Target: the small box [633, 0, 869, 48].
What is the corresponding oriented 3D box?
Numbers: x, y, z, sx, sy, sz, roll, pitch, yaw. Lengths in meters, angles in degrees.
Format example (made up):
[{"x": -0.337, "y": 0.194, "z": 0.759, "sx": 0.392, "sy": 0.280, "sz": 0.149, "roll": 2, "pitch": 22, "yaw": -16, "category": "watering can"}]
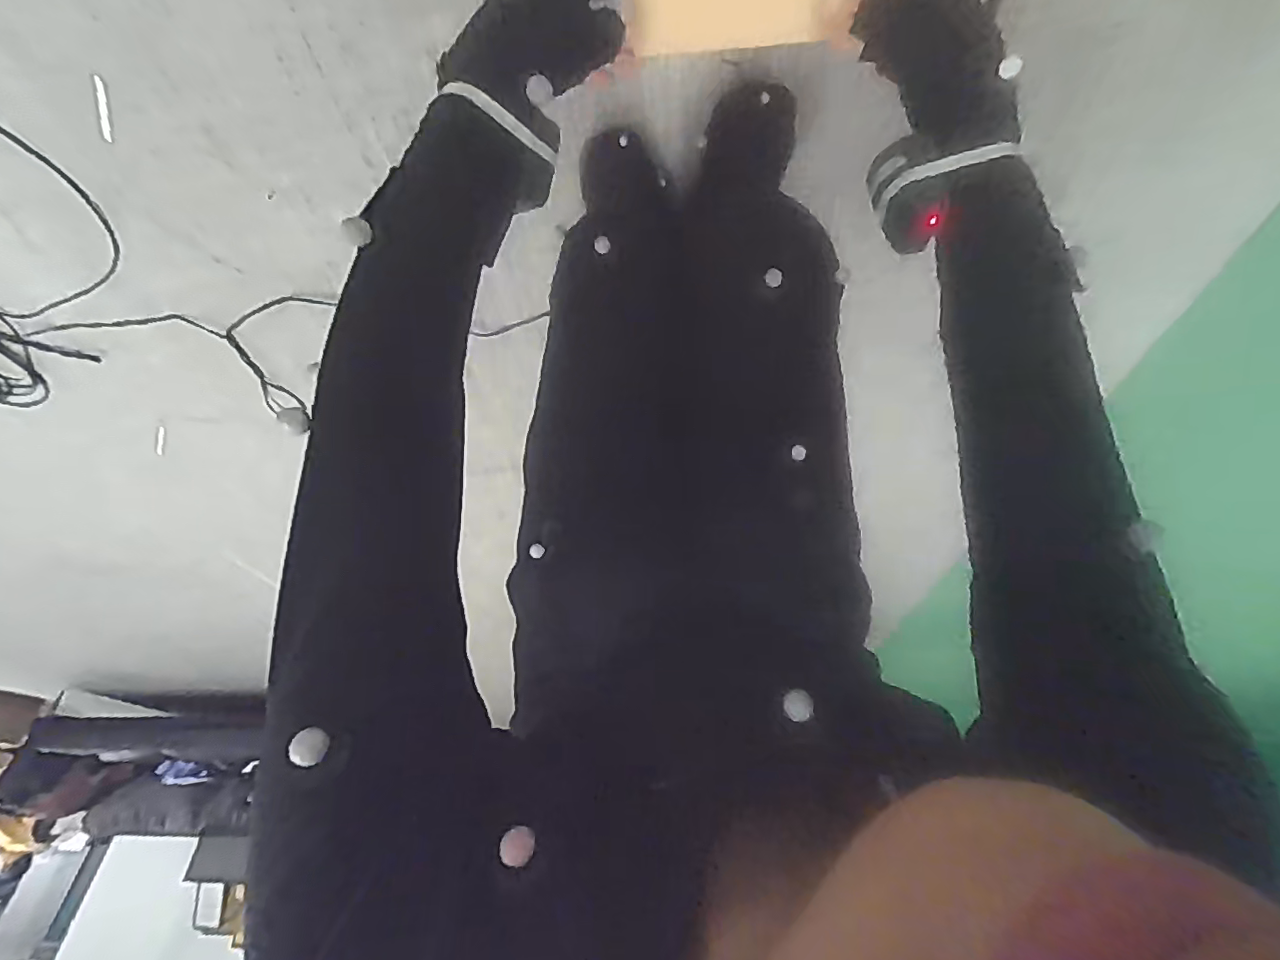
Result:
[{"x": 0.073, "y": -0.435, "z": 0.383, "sx": 0.168, "sy": 0.176, "sz": 0.179, "roll": -4, "pitch": 134, "yaw": 4, "category": "small box"}]
